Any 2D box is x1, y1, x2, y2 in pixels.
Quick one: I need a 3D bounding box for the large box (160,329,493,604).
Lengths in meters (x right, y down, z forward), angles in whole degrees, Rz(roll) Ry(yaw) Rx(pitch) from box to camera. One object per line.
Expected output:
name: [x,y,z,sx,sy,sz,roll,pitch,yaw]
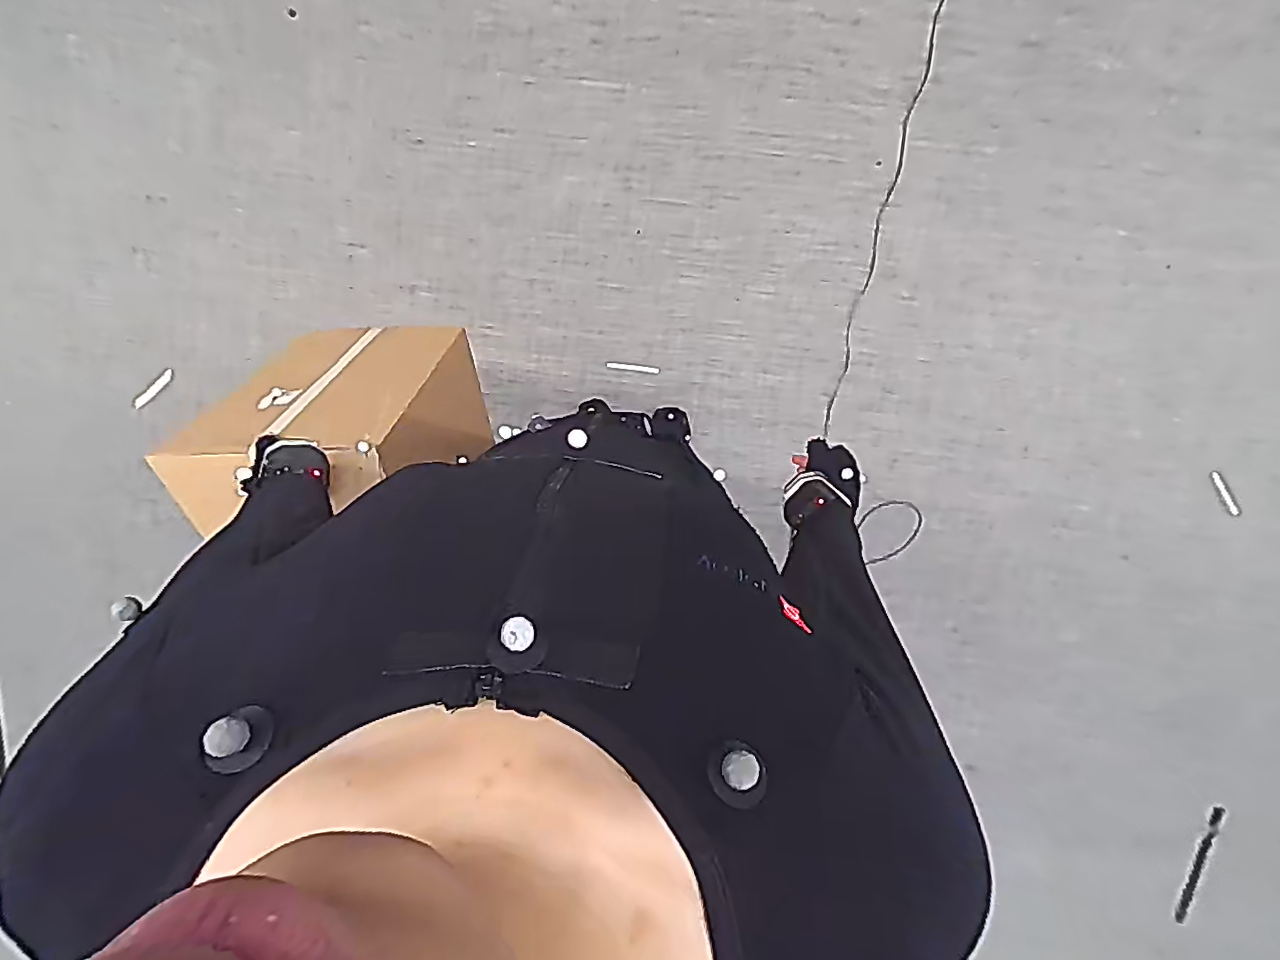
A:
large box: [-0.478,-0.037,0.953,0.320,0.408,0.320,-3,129,3]
